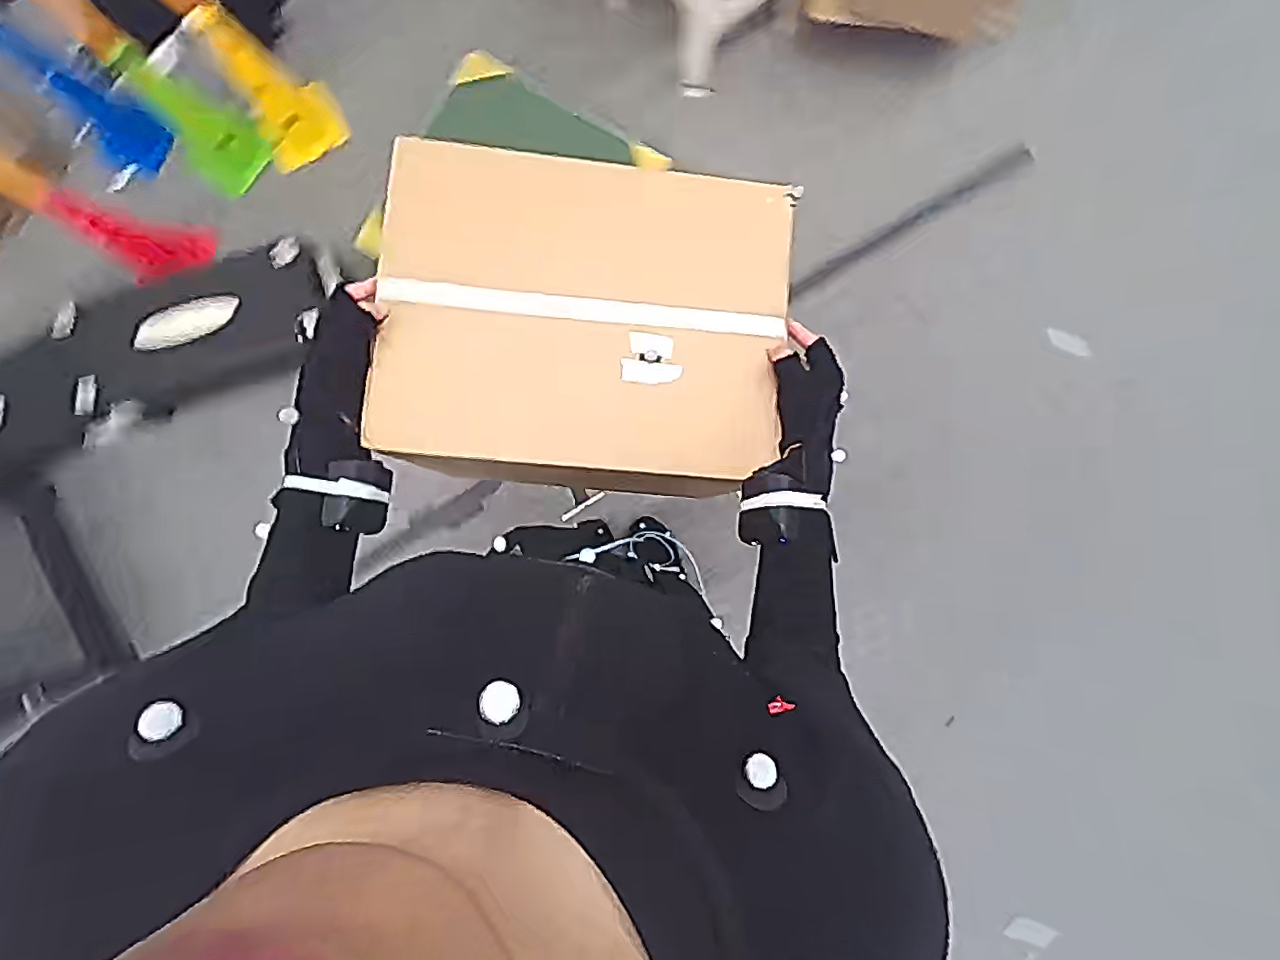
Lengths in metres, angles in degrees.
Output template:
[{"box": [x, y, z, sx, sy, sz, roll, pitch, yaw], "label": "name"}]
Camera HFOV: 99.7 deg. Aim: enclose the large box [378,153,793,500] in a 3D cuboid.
[{"box": [-0.061, -0.151, 0.699, 0.408, 0.320, 0.320, 7, 86, -5], "label": "large box"}]
